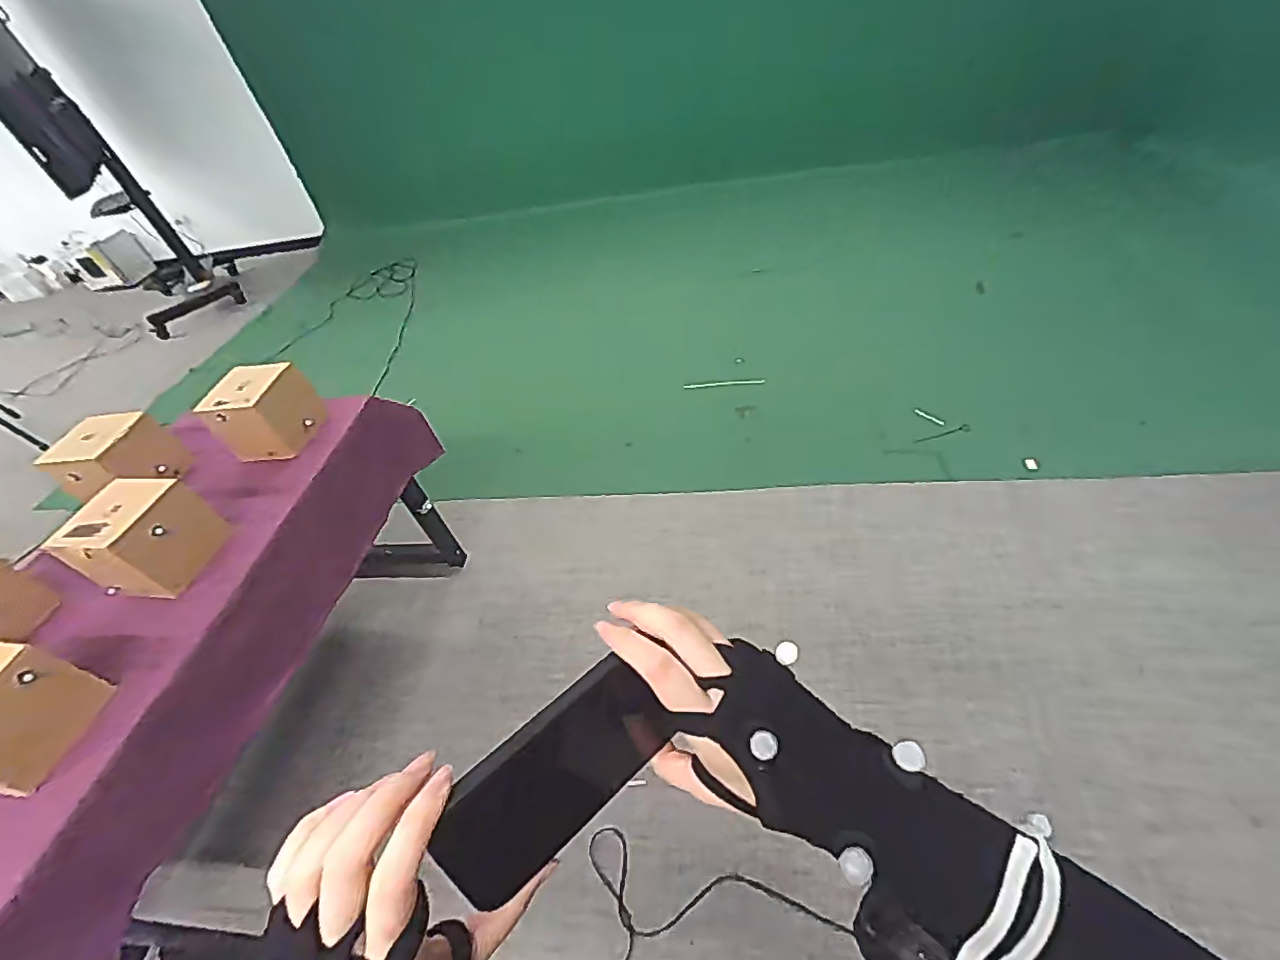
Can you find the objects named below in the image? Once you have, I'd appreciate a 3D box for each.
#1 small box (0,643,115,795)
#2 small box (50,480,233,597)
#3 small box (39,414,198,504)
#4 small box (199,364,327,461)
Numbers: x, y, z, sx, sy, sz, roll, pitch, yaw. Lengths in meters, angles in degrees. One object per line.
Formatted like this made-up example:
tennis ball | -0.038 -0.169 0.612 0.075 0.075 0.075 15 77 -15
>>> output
small box | -1.013 0.376 0.853 0.168 0.176 0.179 -1 45 12
small box | -0.989 0.119 1.094 0.168 0.176 0.179 0 46 13
small box | -1.244 -0.039 1.304 0.179 0.176 0.168 -4 47 9
small box | -0.926 -0.166 1.353 0.168 0.176 0.179 -3 46 11
